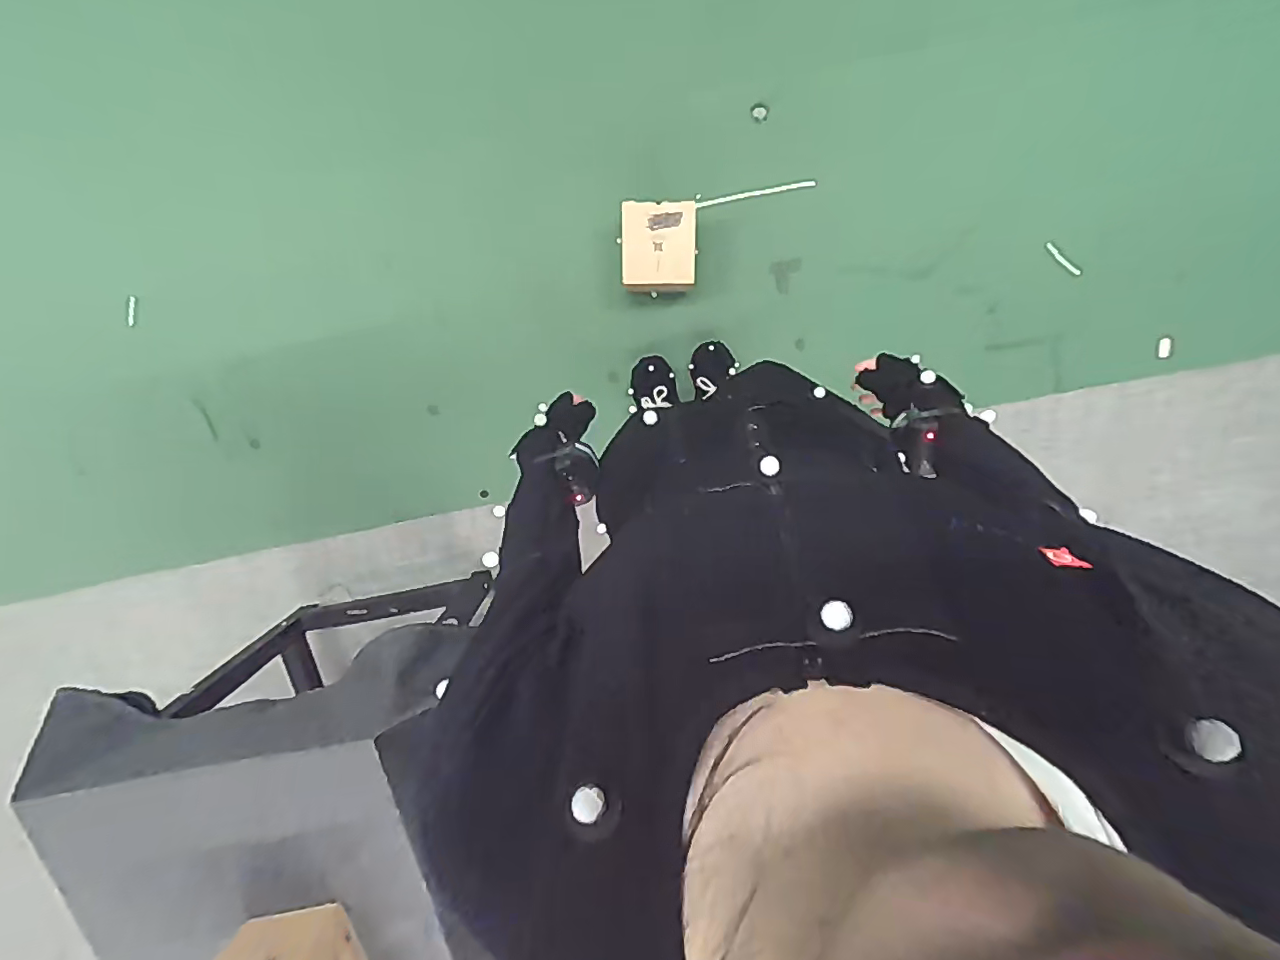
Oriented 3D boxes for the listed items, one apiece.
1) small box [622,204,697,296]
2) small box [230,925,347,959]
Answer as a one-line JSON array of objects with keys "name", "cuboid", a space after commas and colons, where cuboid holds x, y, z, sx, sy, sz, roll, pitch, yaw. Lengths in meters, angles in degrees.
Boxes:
[{"name": "small box", "cuboid": [0.041, -0.538, 1.281, 0.168, 0.176, 0.179, -1, 103, 0]}, {"name": "small box", "cuboid": [-0.558, 0.826, 0.818, 0.179, 0.176, 0.168, -14, 102, 2]}]
